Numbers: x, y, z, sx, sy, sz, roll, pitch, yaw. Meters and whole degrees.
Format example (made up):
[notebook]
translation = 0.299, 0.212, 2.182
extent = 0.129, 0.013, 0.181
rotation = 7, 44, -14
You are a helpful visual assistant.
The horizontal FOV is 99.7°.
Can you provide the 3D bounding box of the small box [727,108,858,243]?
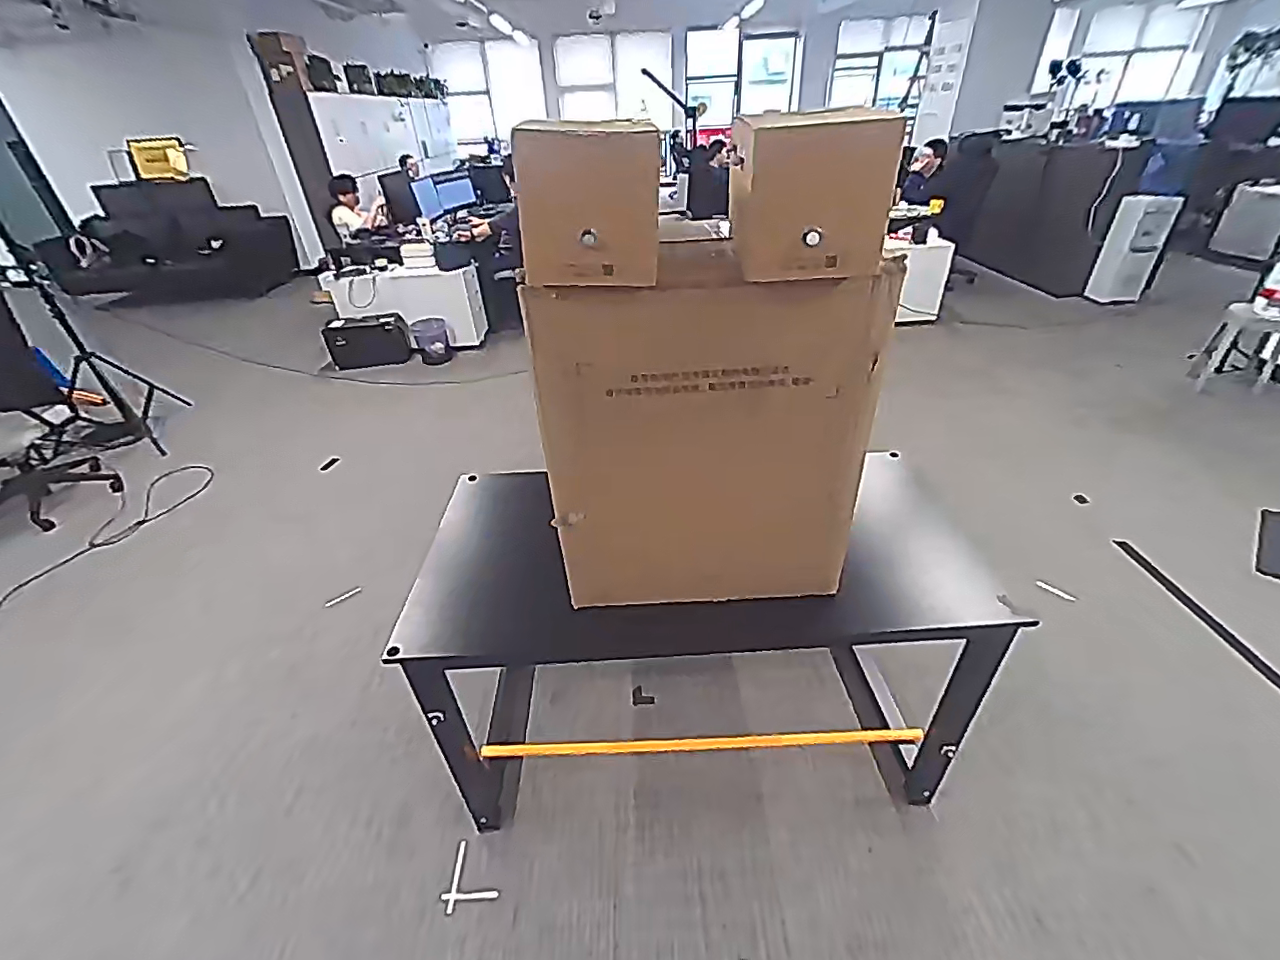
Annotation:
[small box]
translation = 0.229, -0.483, 0.863
extent = 0.168, 0.176, 0.179
rotation = -4, 33, 4
